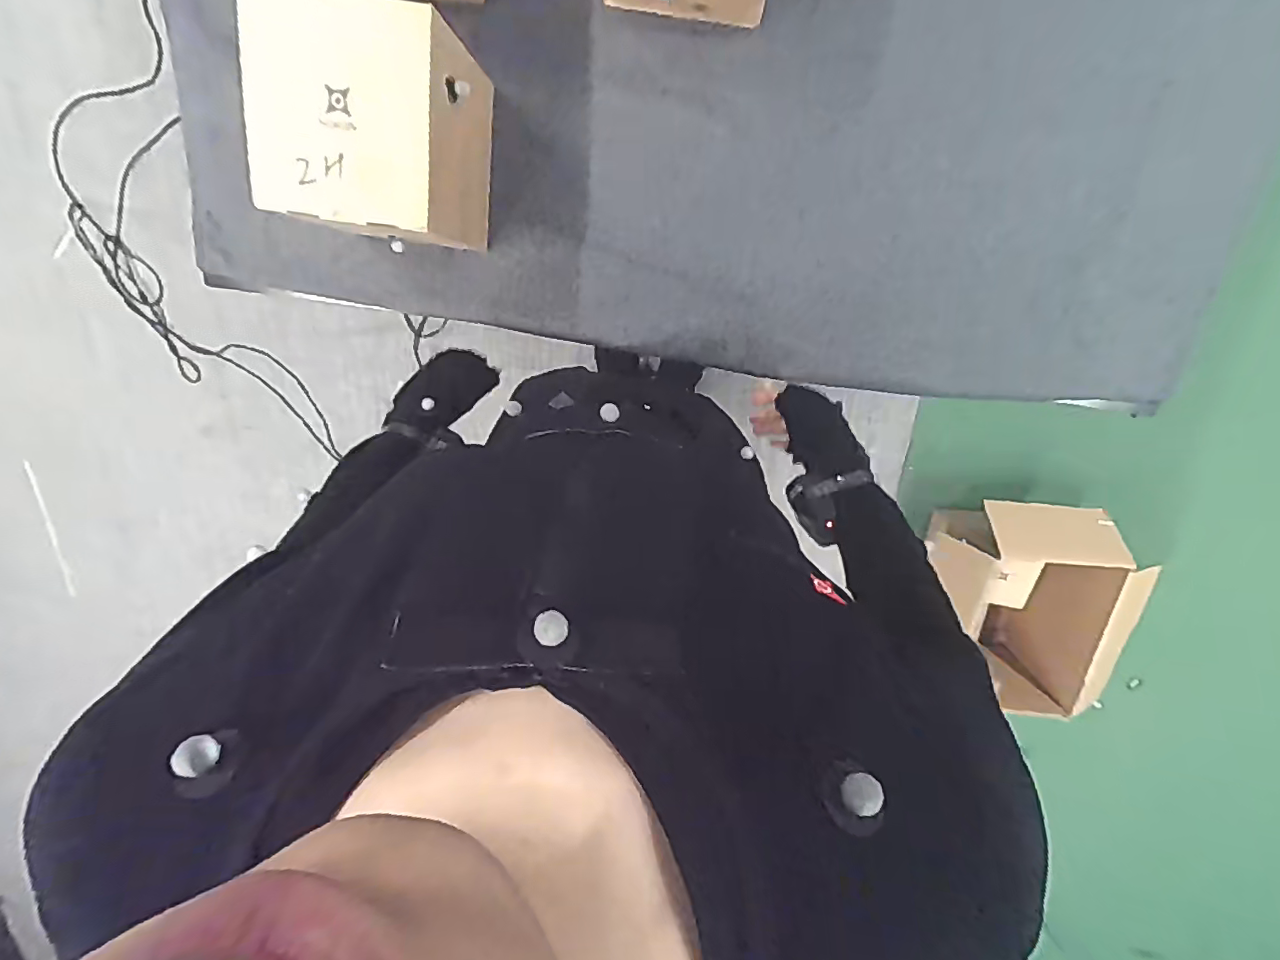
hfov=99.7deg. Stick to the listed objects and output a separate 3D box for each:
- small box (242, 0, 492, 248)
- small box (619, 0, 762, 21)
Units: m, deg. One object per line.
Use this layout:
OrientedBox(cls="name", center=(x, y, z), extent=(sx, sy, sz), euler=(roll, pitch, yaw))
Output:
OrientedBox(cls="small box", center=(-0.256, -0.346, 0.545), extent=(0.168, 0.176, 0.179), euler=(8, 108, 0))
OrientedBox(cls="small box", center=(0.051, -0.546, 0.462), extent=(0.168, 0.176, 0.179), euler=(9, 111, 0))
